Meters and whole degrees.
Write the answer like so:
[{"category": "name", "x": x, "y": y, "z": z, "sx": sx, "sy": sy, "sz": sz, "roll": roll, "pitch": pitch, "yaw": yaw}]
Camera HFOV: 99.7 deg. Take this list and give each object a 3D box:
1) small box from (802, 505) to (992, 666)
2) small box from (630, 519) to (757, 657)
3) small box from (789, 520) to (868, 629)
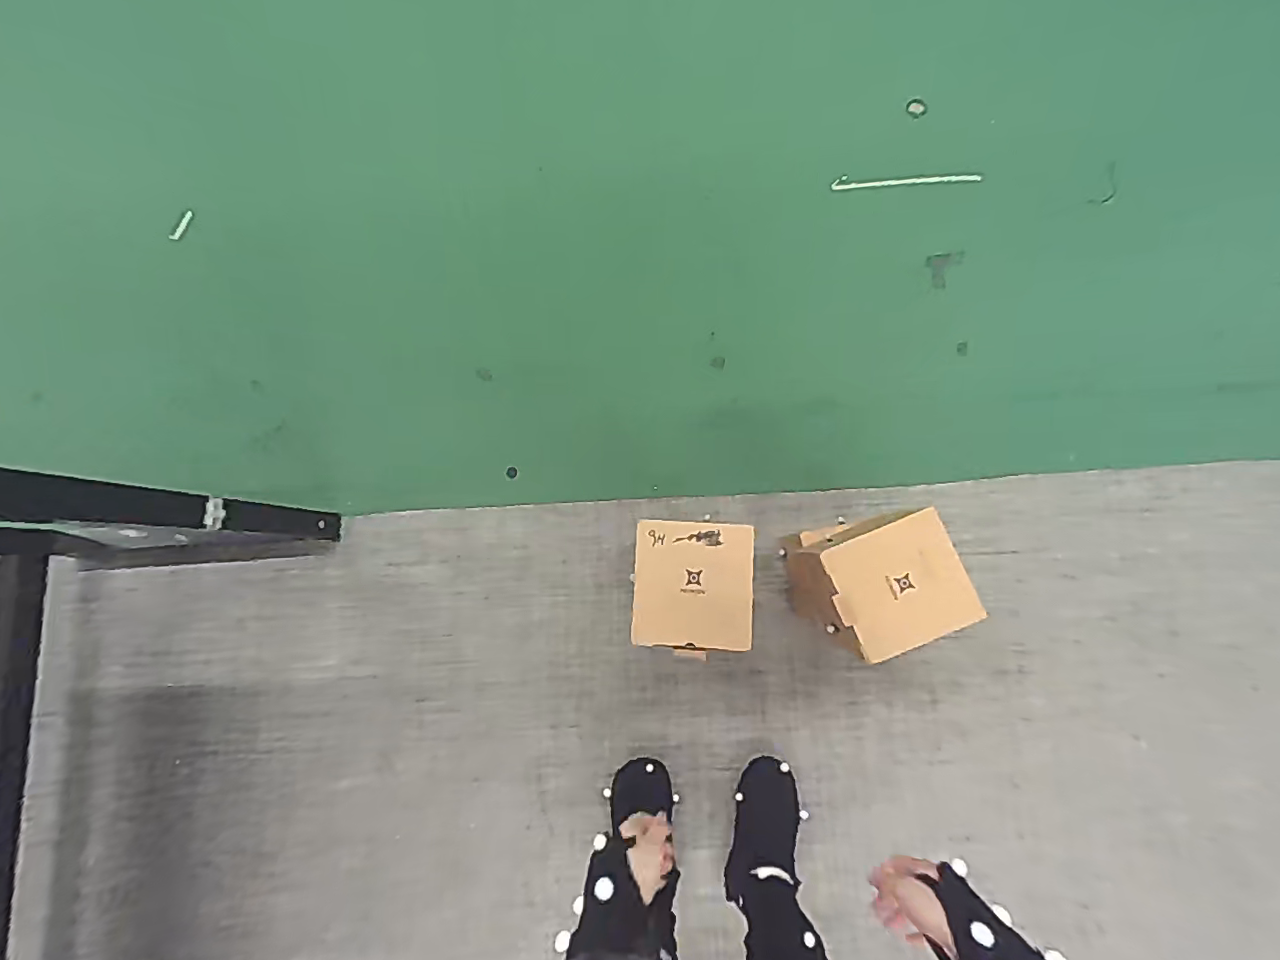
[{"category": "small box", "x": 0.358, "y": 0.150, "z": 0.799, "sx": 0.179, "sy": 0.176, "sz": 0.168, "roll": -23, "pitch": 83, "yaw": -1}, {"category": "small box", "x": 0.080, "y": 0.155, "z": 0.812, "sx": 0.168, "sy": 0.176, "sz": 0.179, "roll": 3, "pitch": 82, "yaw": 4}, {"category": "small box", "x": 0.374, "y": 0.162, "z": 0.960, "sx": 0.179, "sy": 0.176, "sz": 0.168, "roll": -10, "pitch": 82, "yaw": 1}]
